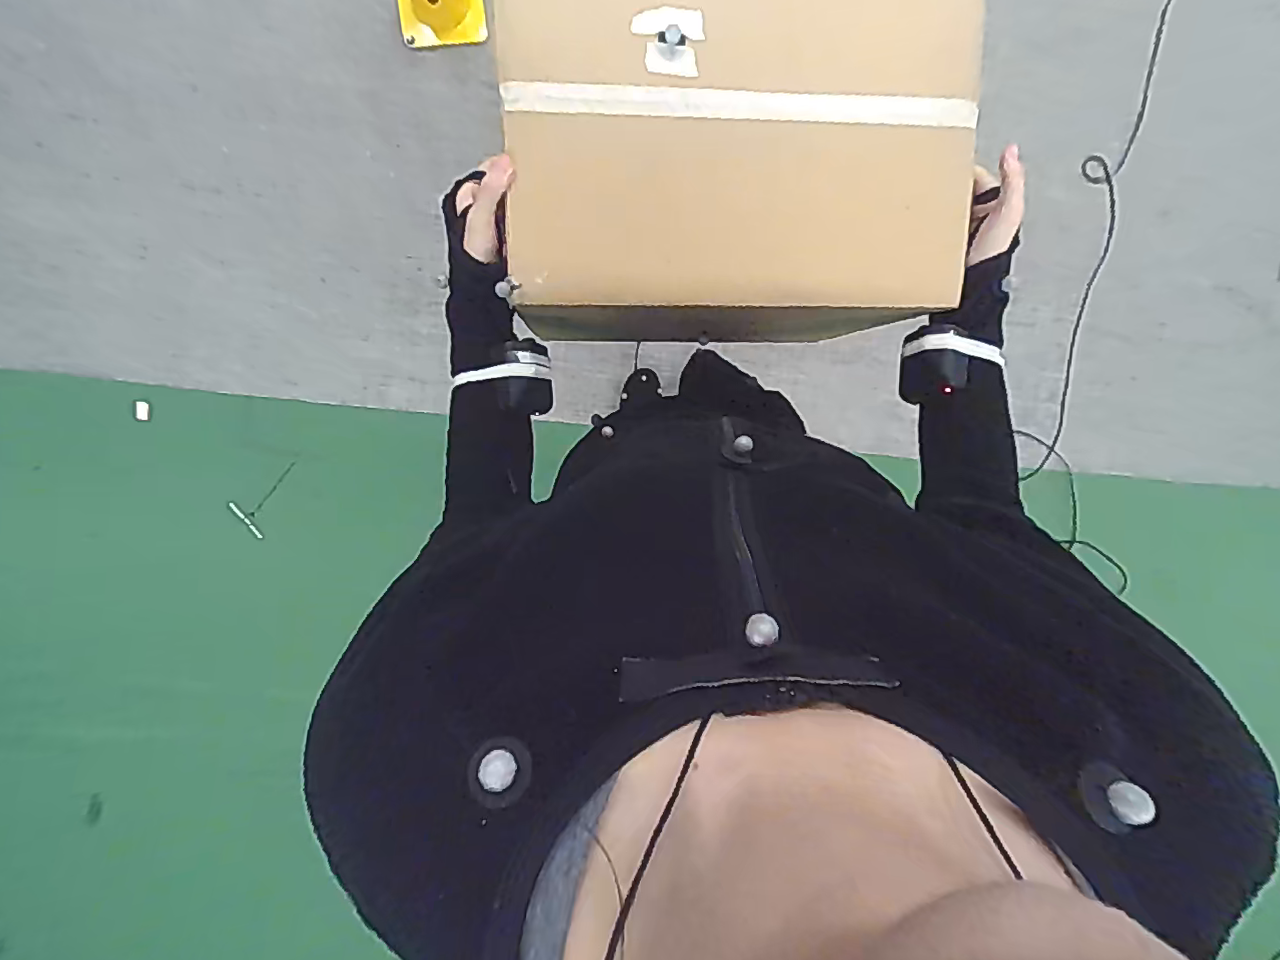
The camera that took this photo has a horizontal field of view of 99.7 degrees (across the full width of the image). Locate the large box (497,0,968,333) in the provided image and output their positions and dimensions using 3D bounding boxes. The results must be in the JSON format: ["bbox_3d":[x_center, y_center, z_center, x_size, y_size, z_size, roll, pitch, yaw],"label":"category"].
[{"bbox_3d":[0.073,-0.337,0.608,0.408,0.320,0.320,-1,99,-5],"label":"large box"}]
